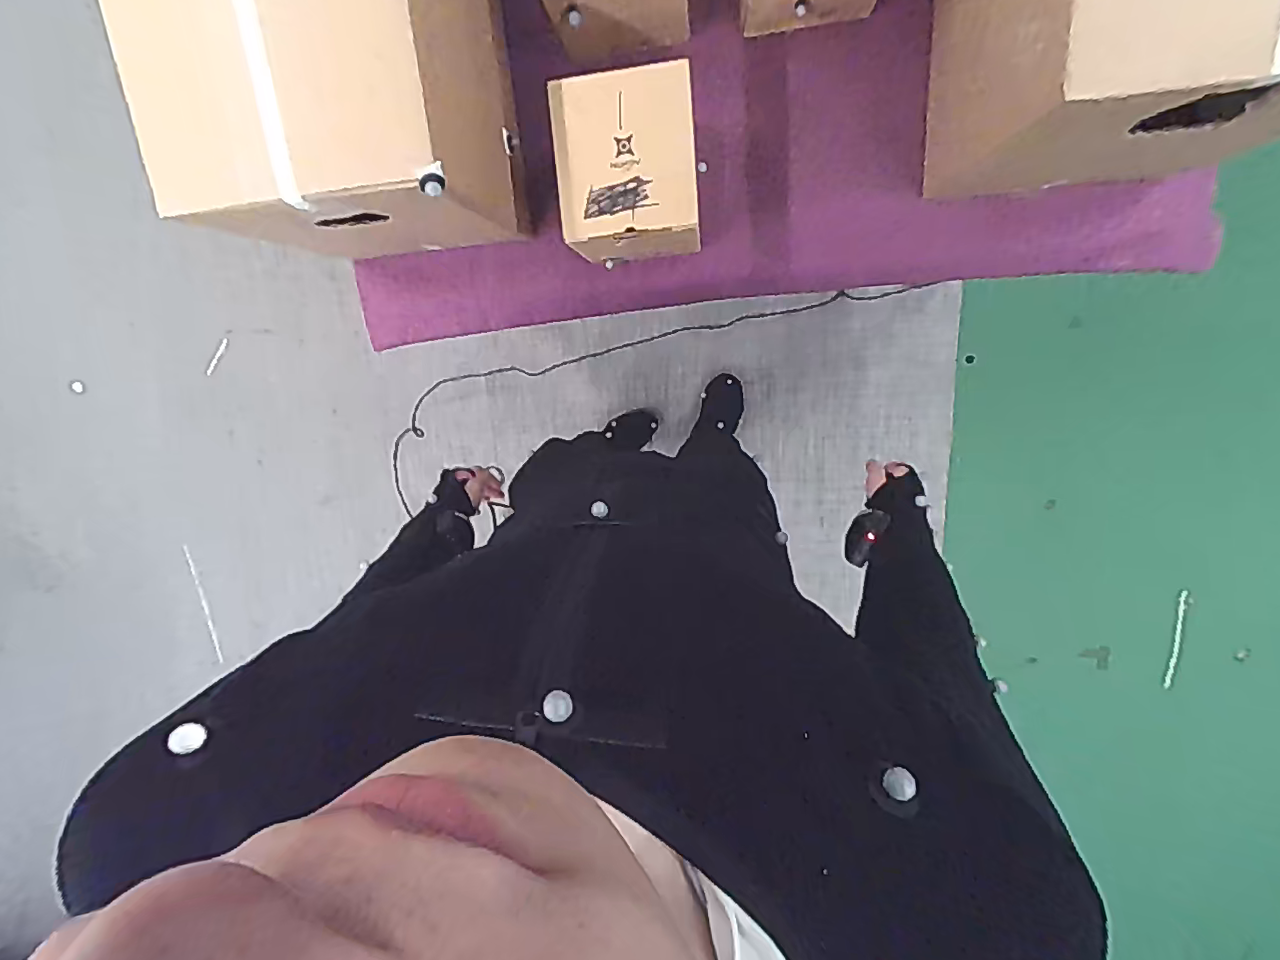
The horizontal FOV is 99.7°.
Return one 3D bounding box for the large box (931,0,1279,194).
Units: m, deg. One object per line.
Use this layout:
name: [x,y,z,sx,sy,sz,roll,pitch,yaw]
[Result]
large box: [0.512,-0.553,0.533,0.320,0.320,0.408,-3,105,8]
